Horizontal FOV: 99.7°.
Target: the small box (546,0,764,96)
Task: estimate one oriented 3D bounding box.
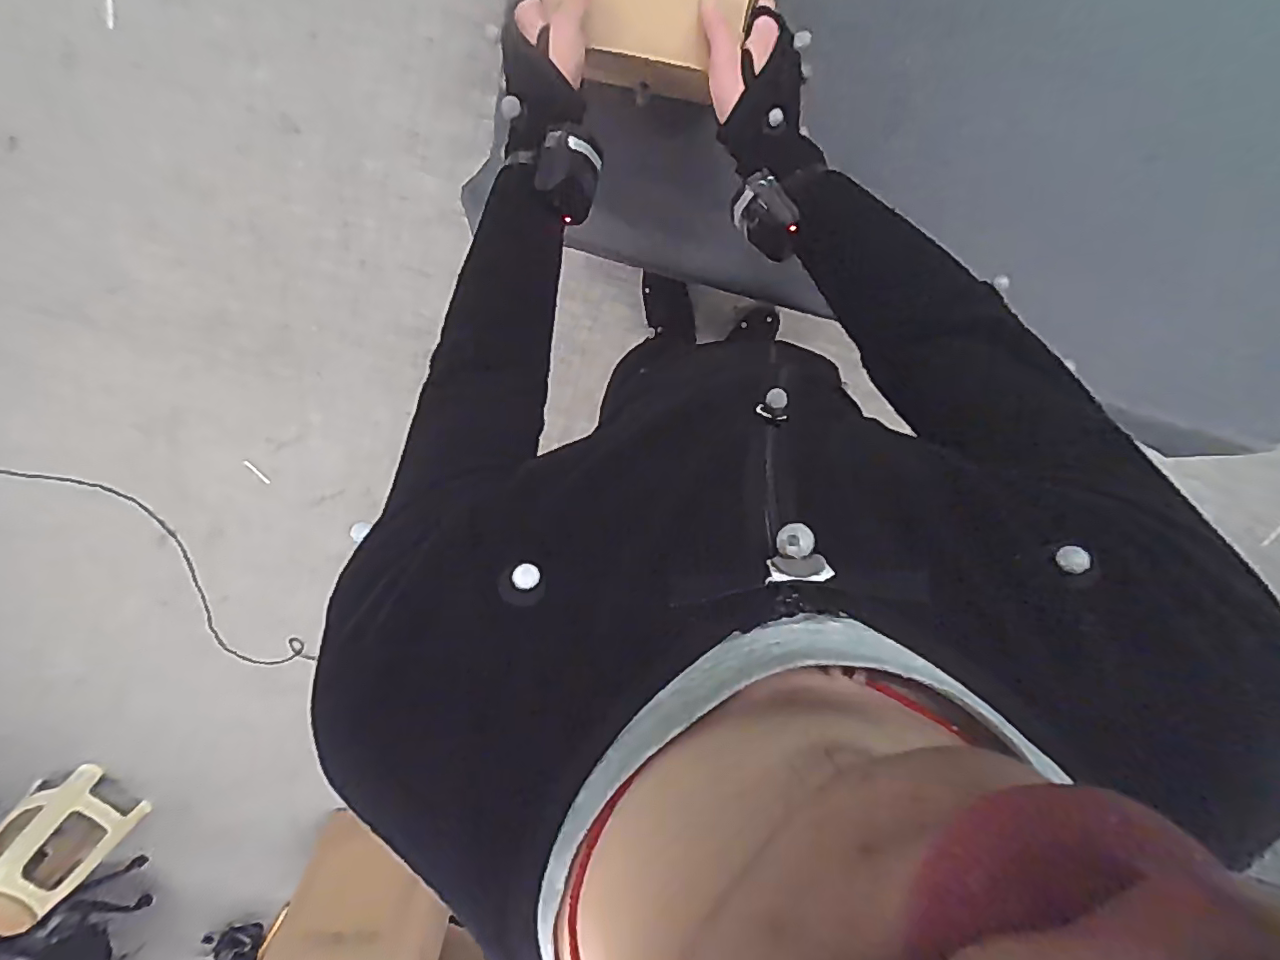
[{"bbox_3d":[0.021,-0.470,0.491,0.179,0.176,0.168,10,118,-5],"label":"small box"}]
